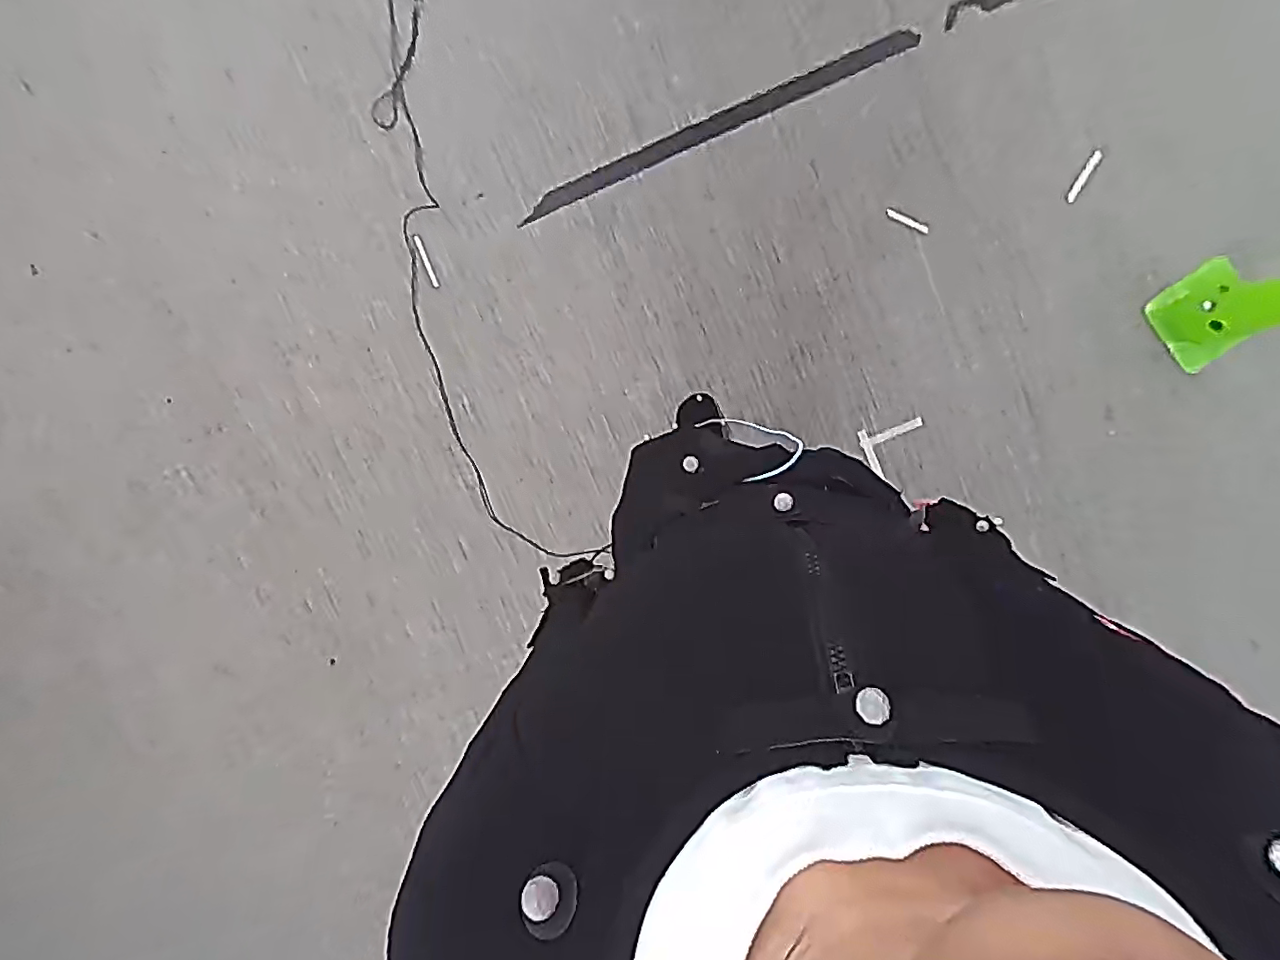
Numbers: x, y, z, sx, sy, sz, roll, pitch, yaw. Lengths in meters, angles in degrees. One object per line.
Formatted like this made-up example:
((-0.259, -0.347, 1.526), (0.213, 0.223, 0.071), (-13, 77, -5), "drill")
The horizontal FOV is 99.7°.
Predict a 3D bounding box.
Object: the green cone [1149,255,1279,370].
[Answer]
((1.298, -0.361, 1.082), (0.202, 0.368, 0.200), (-37, 92, 10), "green cone")
